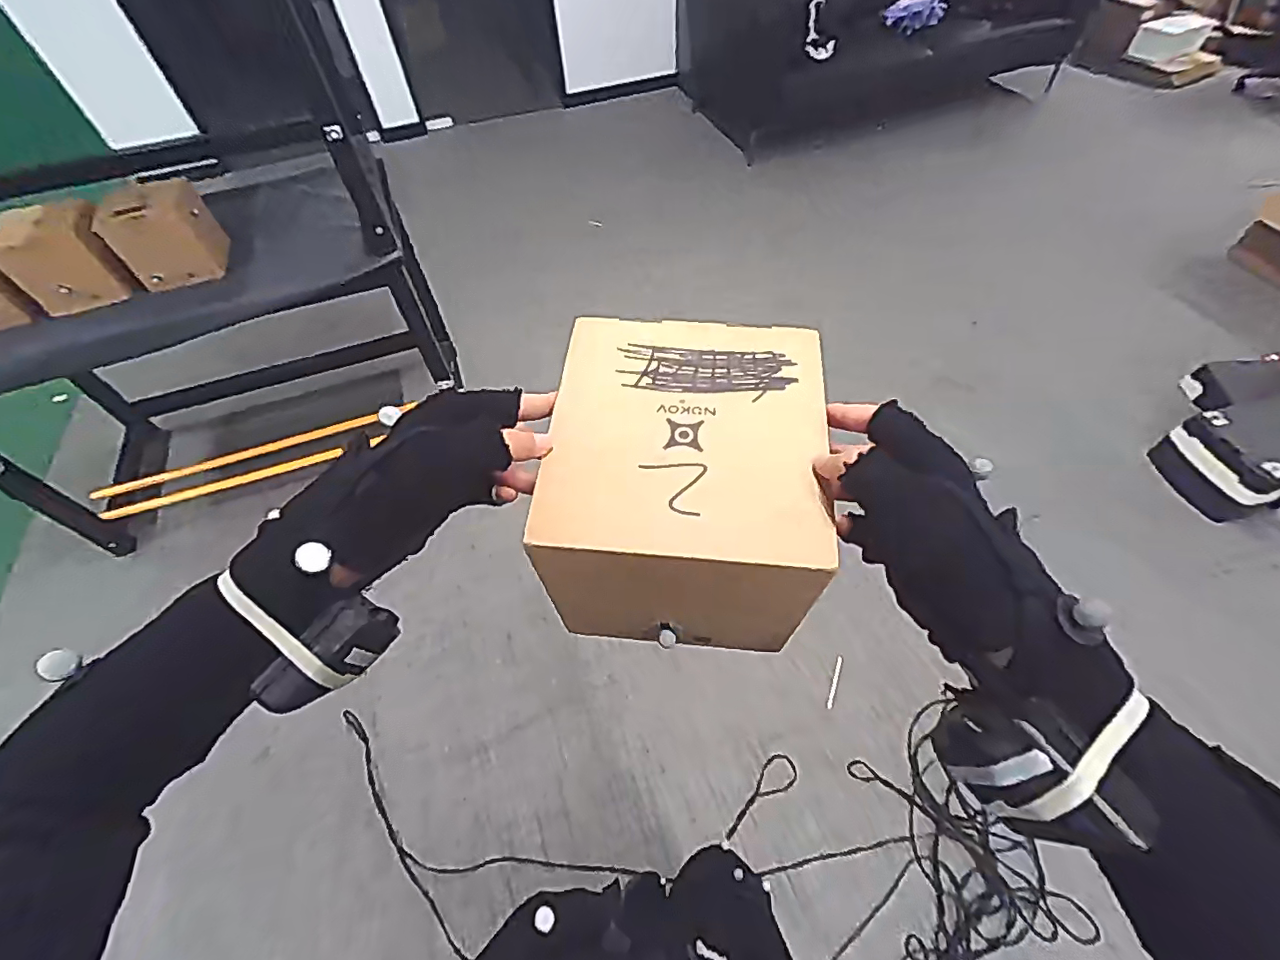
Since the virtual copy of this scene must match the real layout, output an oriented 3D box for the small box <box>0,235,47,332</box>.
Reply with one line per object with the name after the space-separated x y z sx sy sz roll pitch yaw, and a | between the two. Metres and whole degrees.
-1.497 -0.441 1.203 0.168 0.176 0.179 -20 55 -12 | small box
